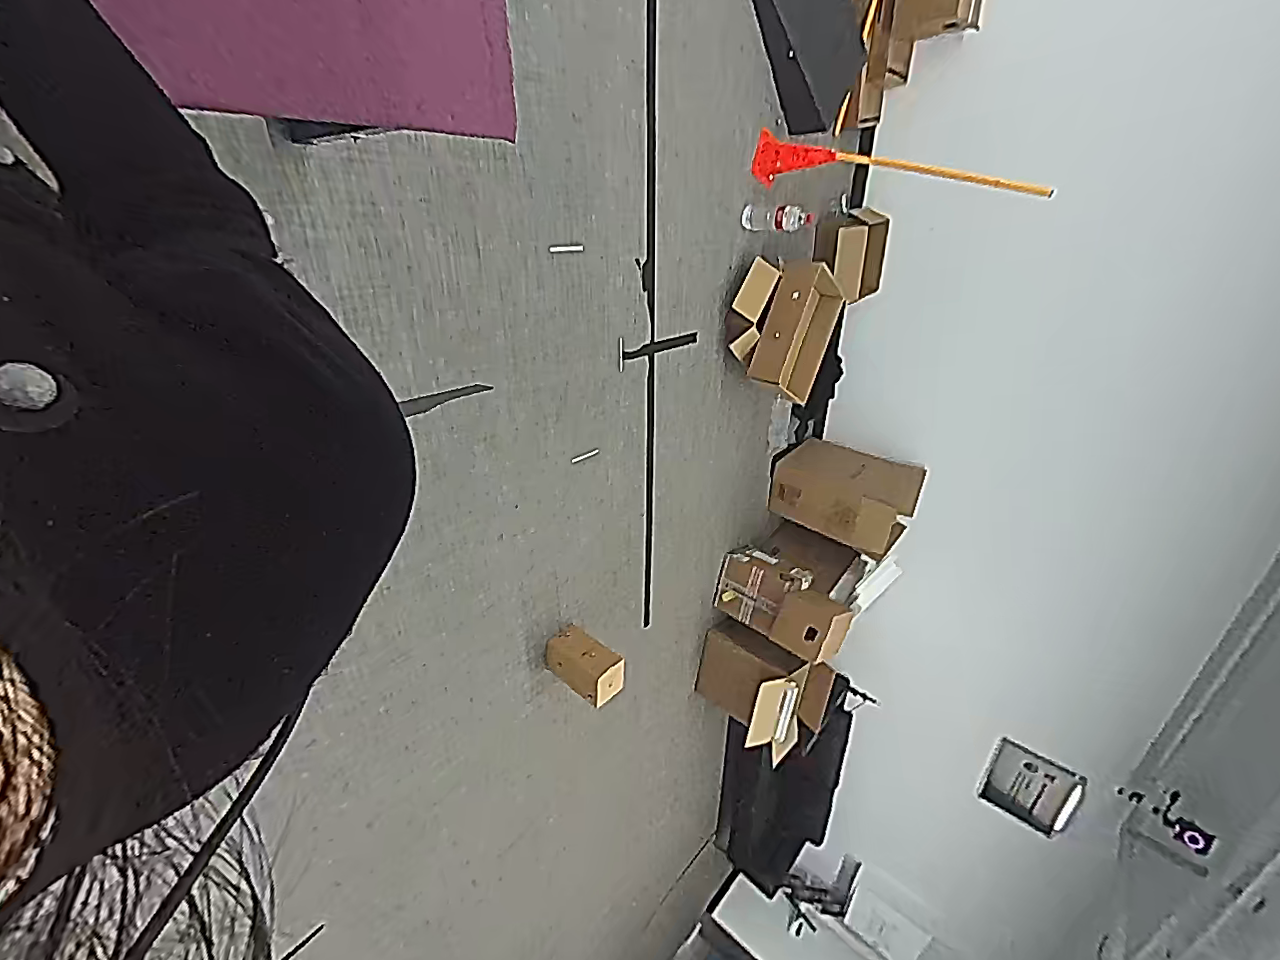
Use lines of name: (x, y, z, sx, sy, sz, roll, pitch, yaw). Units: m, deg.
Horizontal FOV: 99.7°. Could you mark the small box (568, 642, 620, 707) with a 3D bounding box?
small box: (-0.206, 0.850, 2.385, 0.168, 0.176, 0.179, -24, 125, -45)
